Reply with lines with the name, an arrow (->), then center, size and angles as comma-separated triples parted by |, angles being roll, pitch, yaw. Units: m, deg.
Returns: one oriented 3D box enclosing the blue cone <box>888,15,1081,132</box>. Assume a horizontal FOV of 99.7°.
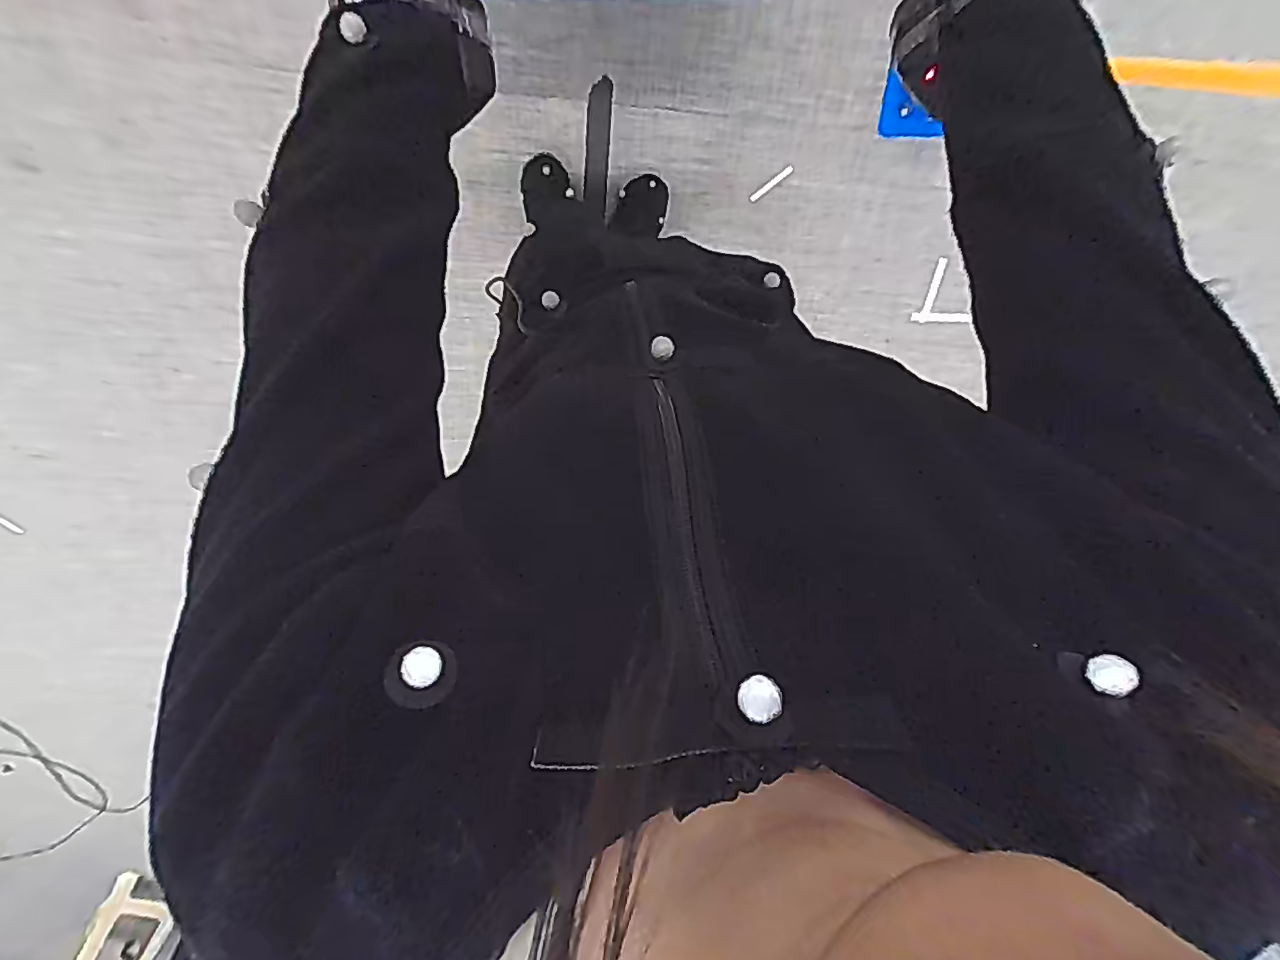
blue cone -> 0.627, -0.740, 0.970 | 0.193, 0.380, 0.192 | -2, 123, -5
